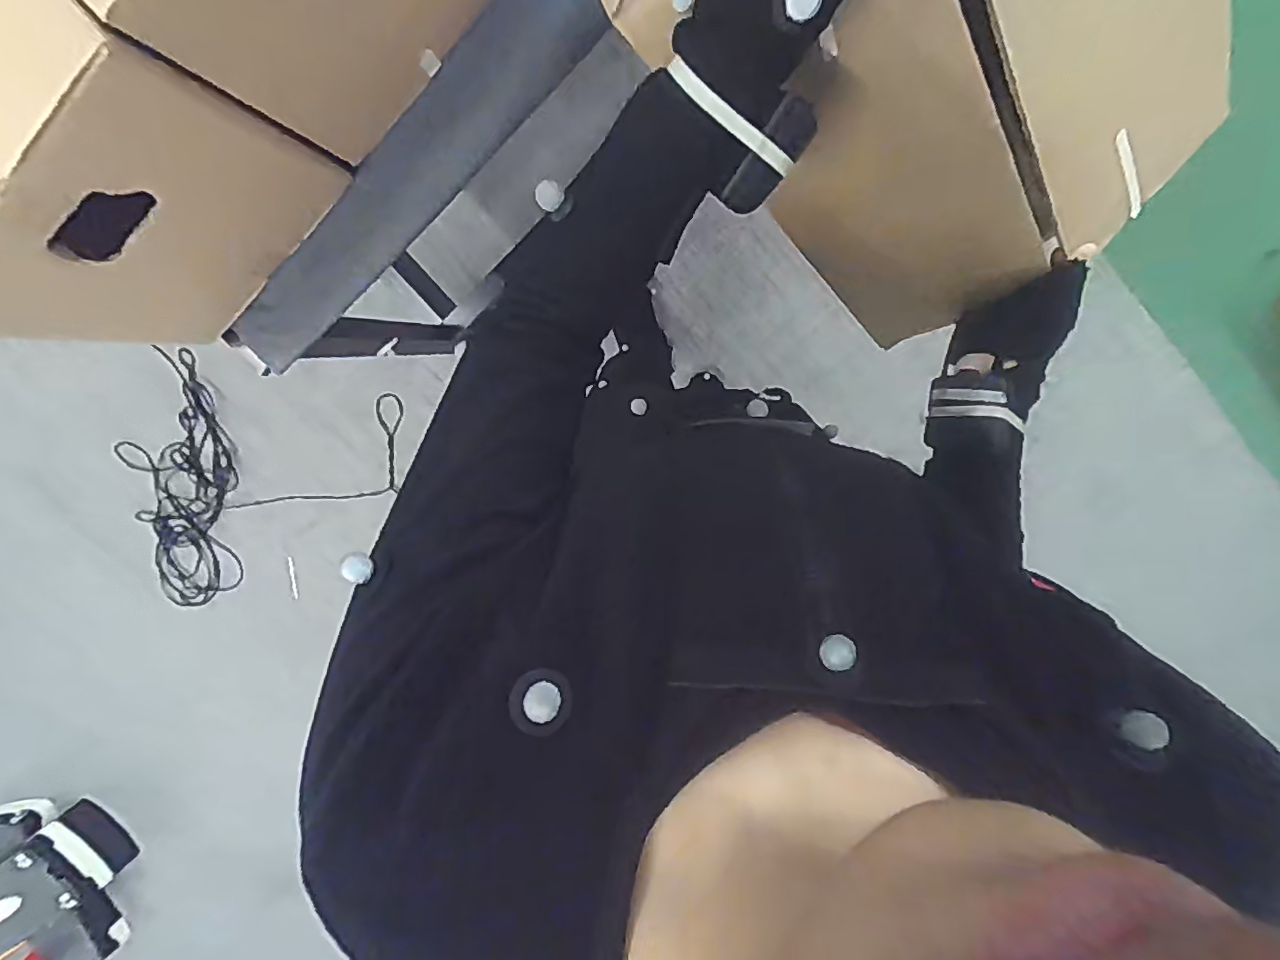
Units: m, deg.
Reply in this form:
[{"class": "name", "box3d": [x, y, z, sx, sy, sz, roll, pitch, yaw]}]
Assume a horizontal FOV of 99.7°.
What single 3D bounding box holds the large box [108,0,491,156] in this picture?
[{"class": "large box", "box3d": [-0.386, -0.606, 0.480, 0.320, 0.320, 0.408, -42, 98, 13]}]
